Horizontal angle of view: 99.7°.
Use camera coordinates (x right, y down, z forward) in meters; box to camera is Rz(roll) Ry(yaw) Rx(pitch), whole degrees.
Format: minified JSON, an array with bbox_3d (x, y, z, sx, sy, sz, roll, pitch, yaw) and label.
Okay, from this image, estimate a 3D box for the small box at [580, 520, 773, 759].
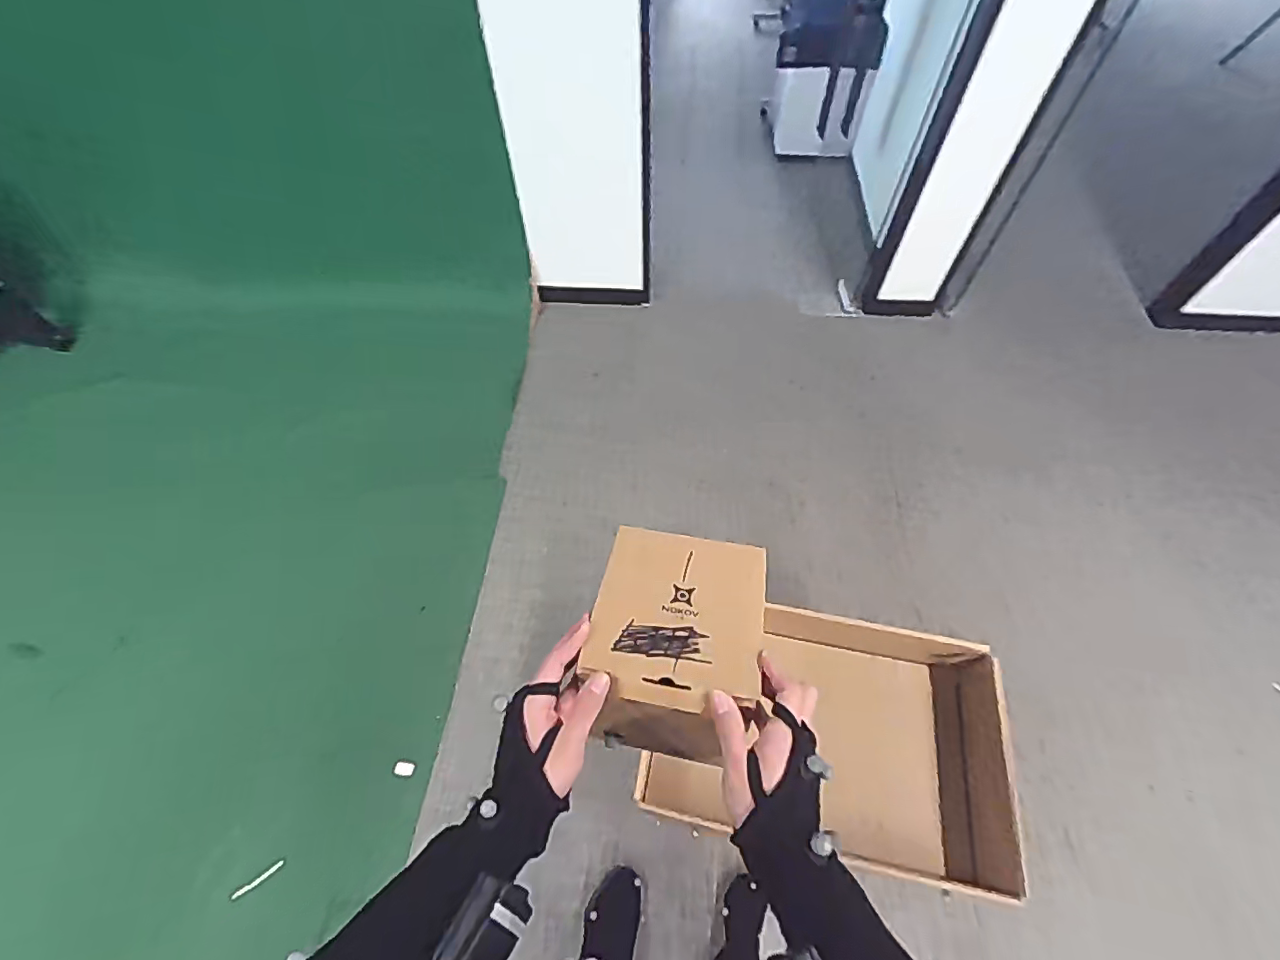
[{"bbox_3d":[0.043,0.173,0.579,0.168,0.176,0.179,9,46,7],"label":"small box"}]
